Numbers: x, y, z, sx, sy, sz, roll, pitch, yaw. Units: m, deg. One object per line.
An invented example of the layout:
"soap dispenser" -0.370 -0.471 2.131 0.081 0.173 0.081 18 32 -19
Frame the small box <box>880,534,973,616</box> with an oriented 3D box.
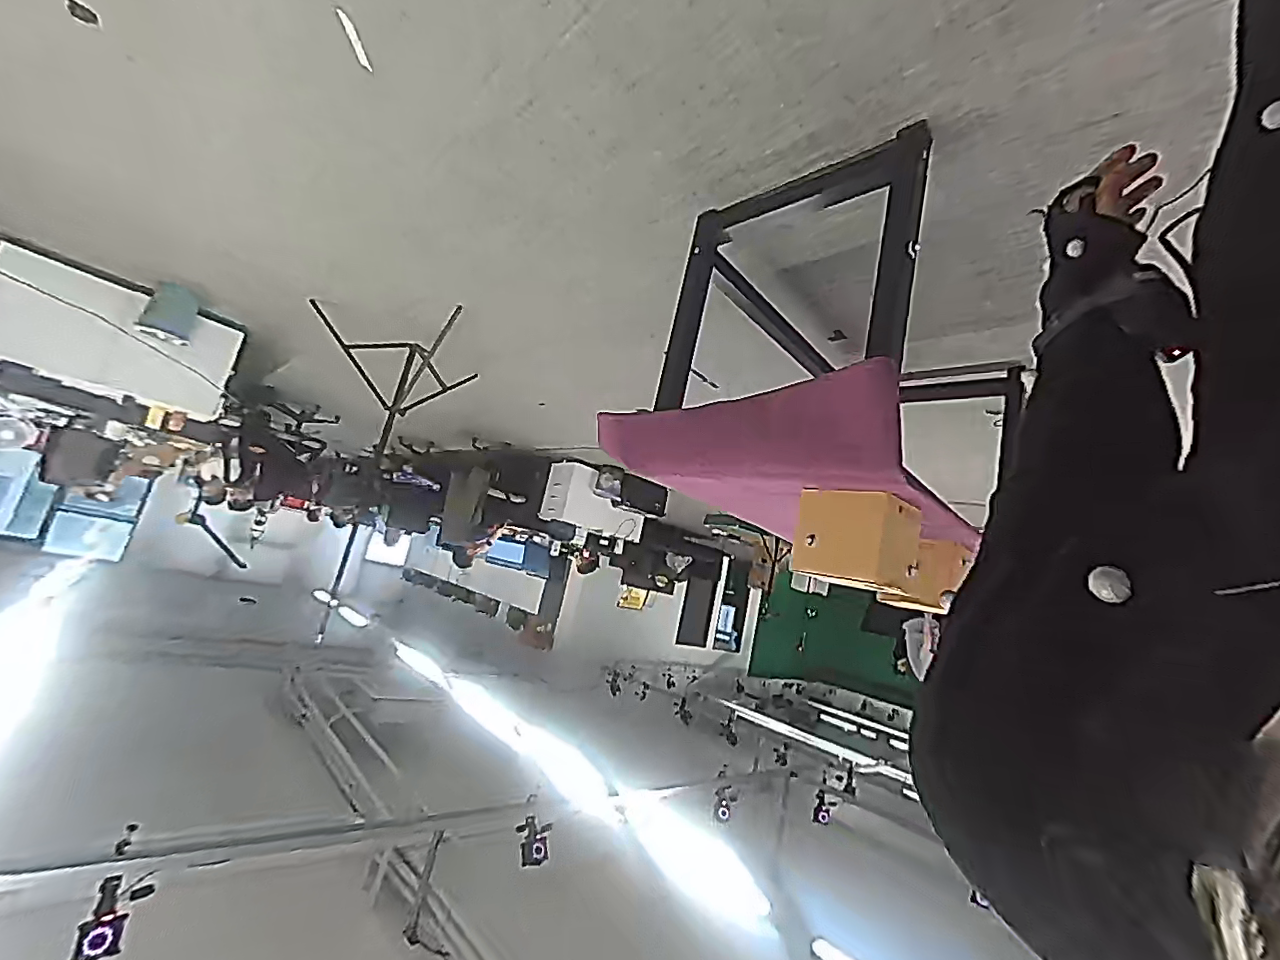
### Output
"small box" 0.724 0.237 1.362 0.168 0.176 0.179 1 165 45
